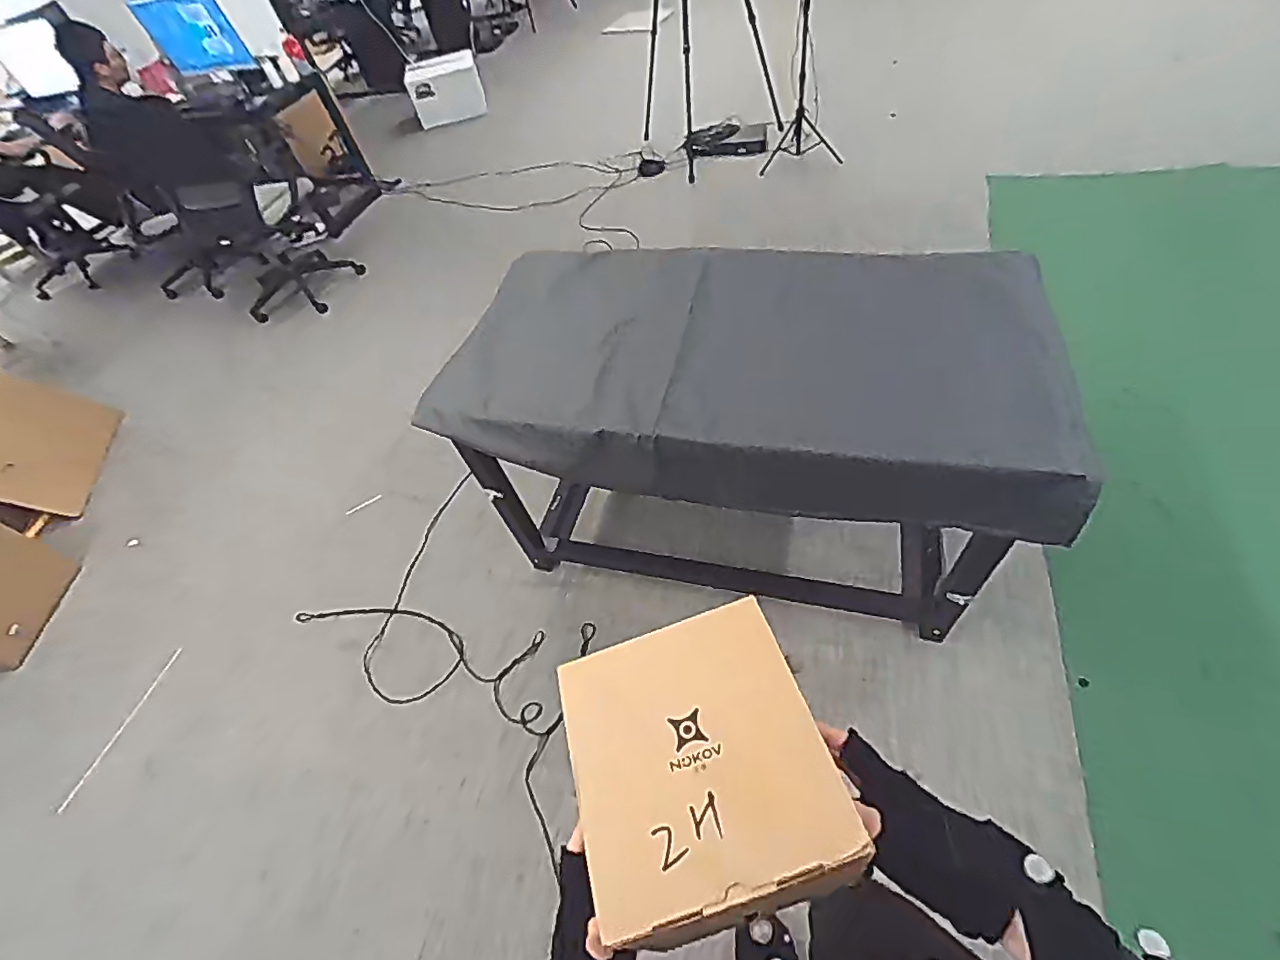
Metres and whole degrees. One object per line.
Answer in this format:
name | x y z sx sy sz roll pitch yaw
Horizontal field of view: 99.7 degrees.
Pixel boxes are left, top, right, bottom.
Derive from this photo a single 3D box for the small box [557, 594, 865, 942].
small box | 0.049 0.224 0.419 0.168 0.176 0.179 -20 47 1
